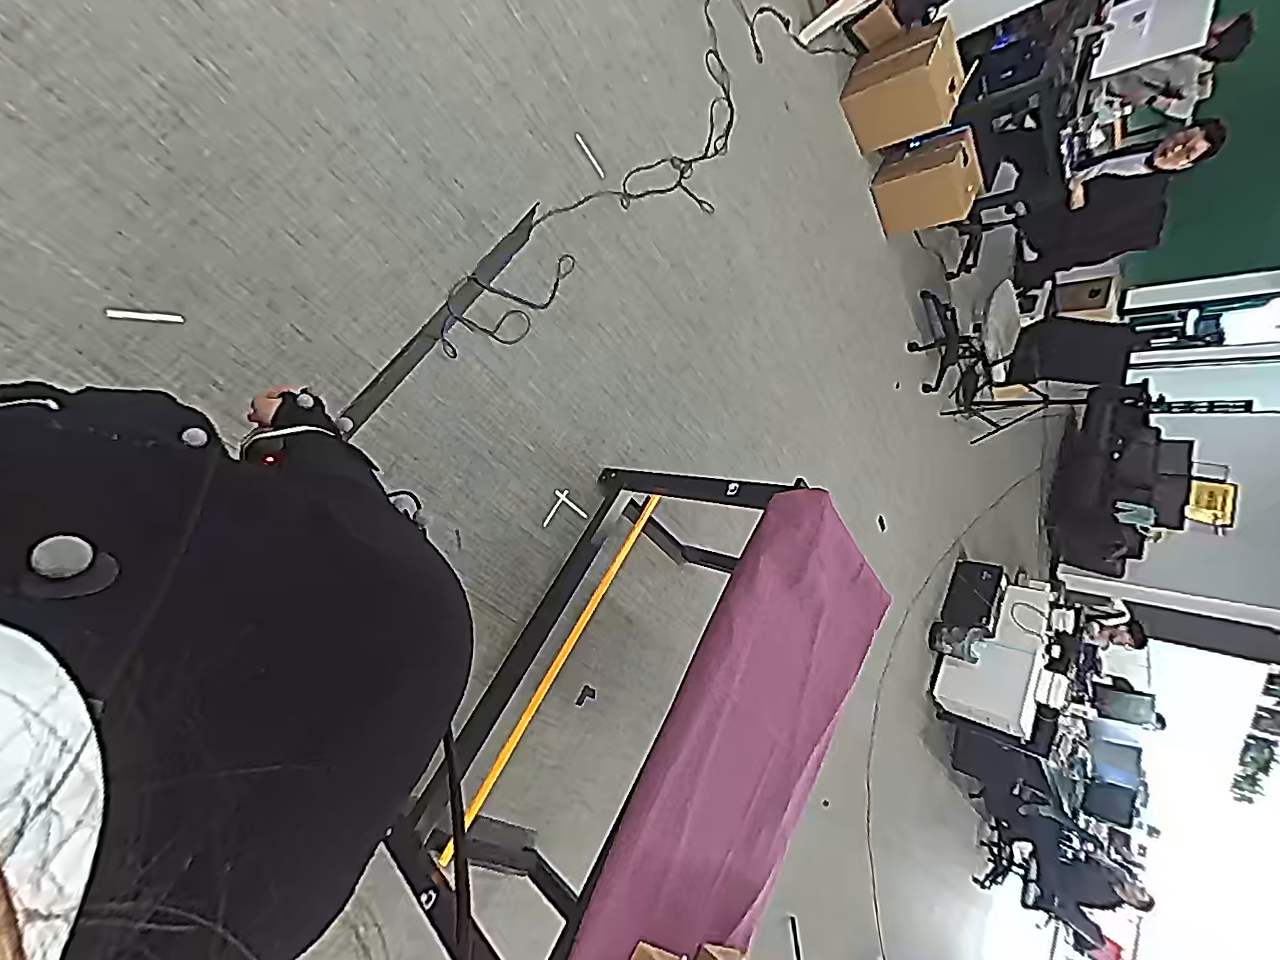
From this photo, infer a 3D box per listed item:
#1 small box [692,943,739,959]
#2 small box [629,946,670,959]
[{"bbox_3d":[0.179,1.107,1.103,0.168,0.176,0.179,46,64,-35],"label":"small box"},{"bbox_3d":[0.039,0.985,0.958,0.179,0.176,0.168,-54,128,-24],"label":"small box"}]
